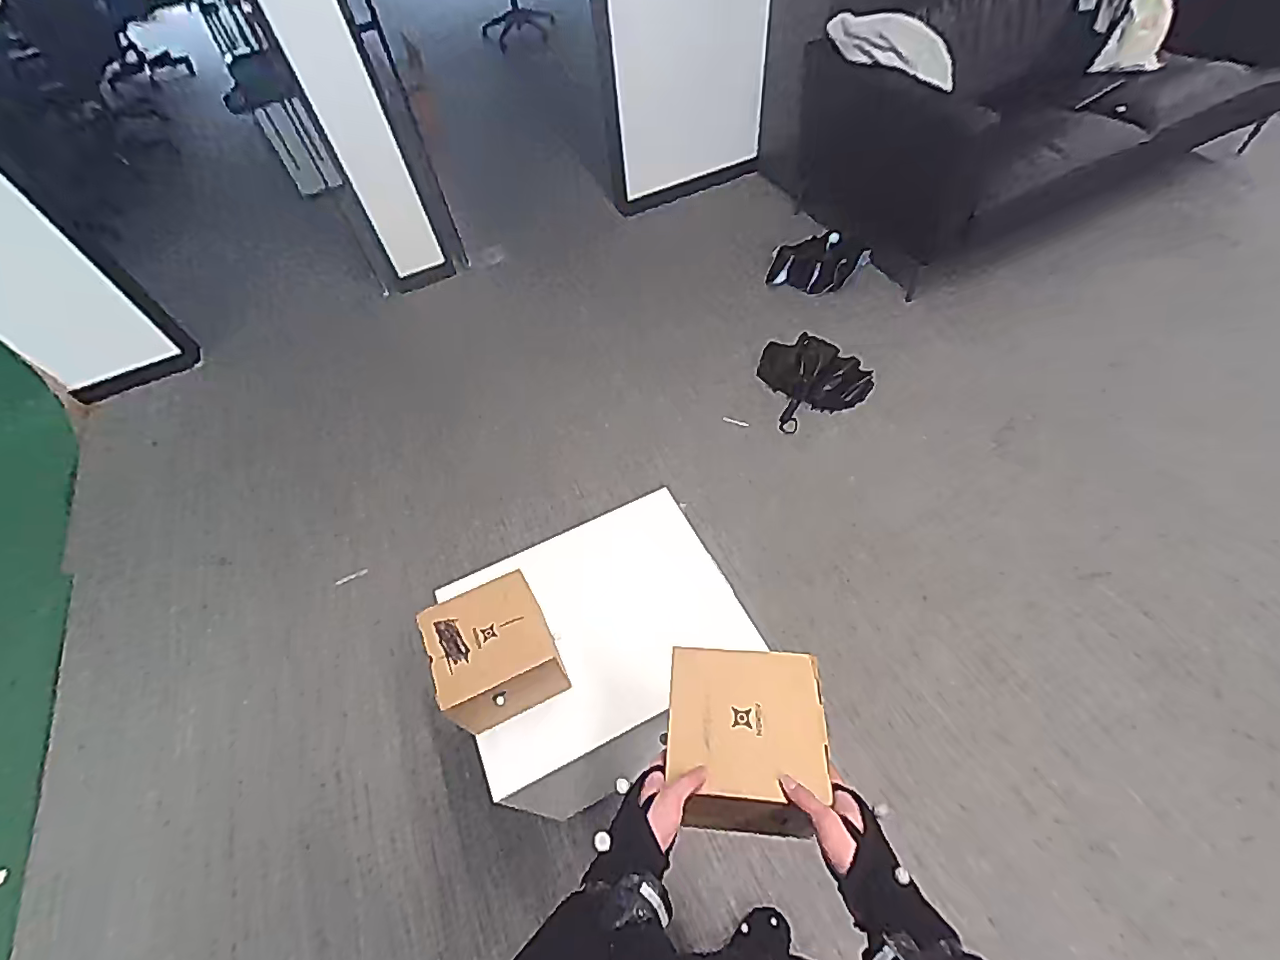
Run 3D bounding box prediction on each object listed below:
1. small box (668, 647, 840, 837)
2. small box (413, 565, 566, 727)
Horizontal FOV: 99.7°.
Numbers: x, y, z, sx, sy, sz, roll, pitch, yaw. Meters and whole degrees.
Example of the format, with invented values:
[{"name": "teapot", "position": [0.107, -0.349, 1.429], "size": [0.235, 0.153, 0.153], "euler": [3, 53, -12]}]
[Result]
[{"name": "small box", "position": [0.127, 0.322, 0.662], "size": [0.179, 0.176, 0.168], "euler": [0, 46, 6]}, {"name": "small box", "position": [-0.235, 0.271, 0.871], "size": [0.179, 0.176, 0.168], "euler": [-22, 57, -14]}]
